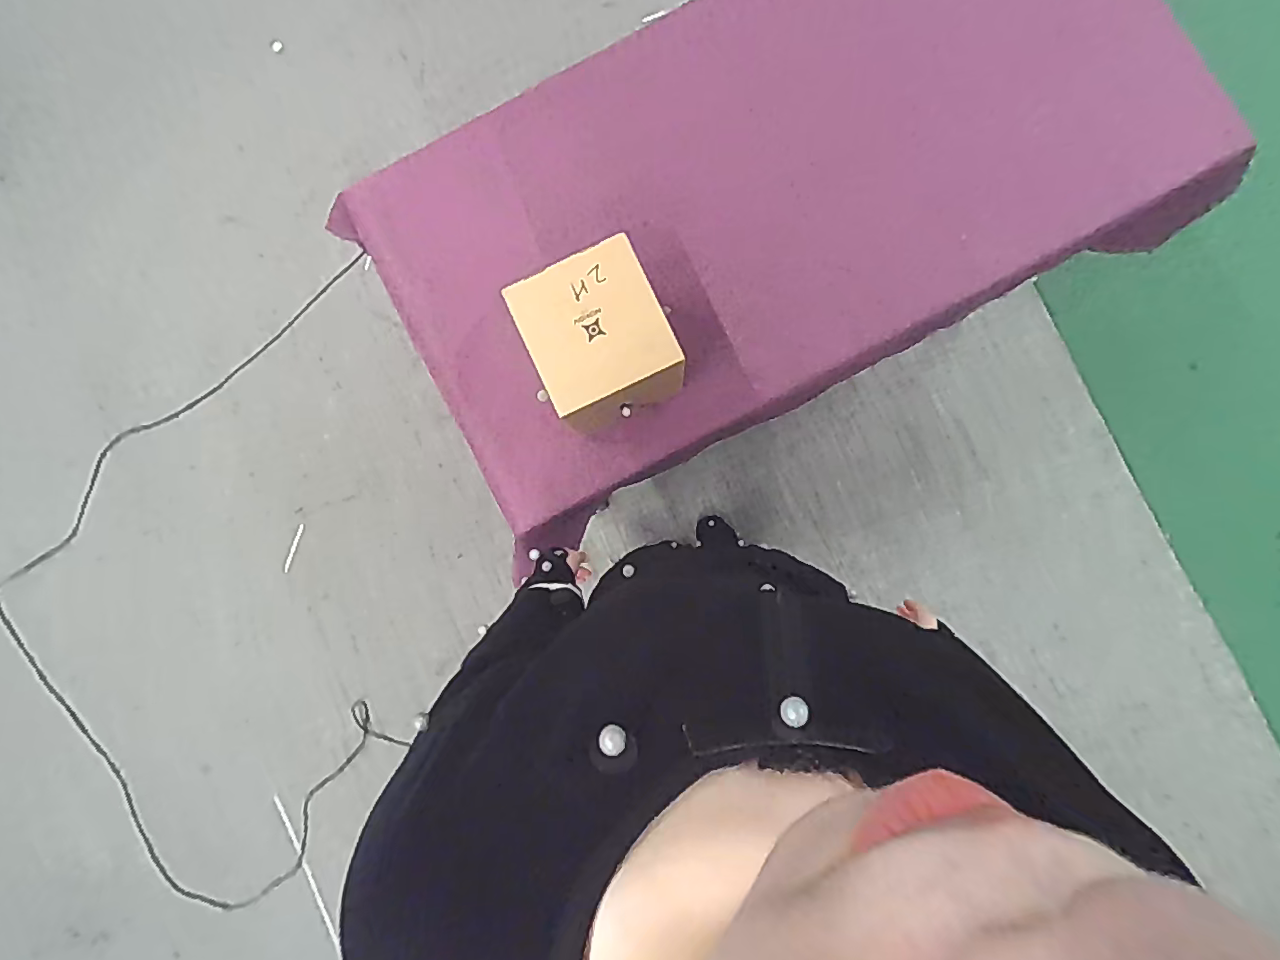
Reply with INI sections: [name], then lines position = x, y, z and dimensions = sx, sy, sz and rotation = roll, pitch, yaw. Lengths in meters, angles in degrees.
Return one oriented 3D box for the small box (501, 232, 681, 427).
[small box]
position = -0.054, -0.180, 0.716
dimensions = 0.168, 0.176, 0.179
rotation = -25, 86, 1
